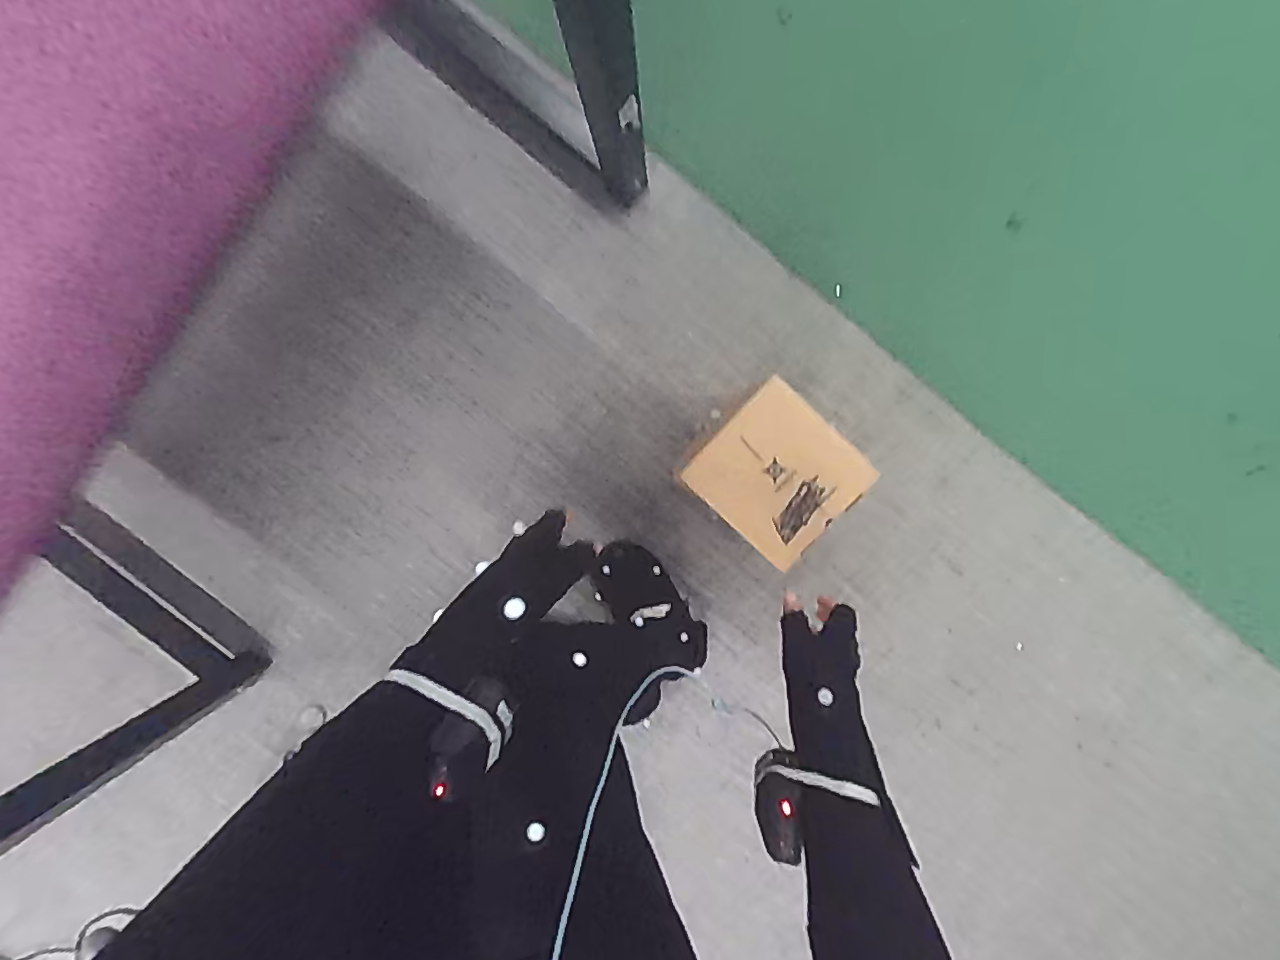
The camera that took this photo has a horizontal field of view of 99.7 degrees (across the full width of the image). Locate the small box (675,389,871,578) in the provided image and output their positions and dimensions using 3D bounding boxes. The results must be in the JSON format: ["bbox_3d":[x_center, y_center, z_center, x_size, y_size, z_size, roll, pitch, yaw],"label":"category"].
[{"bbox_3d":[0.165,-0.005,0.727,0.179,0.176,0.168,45,97,-3],"label":"small box"}]
